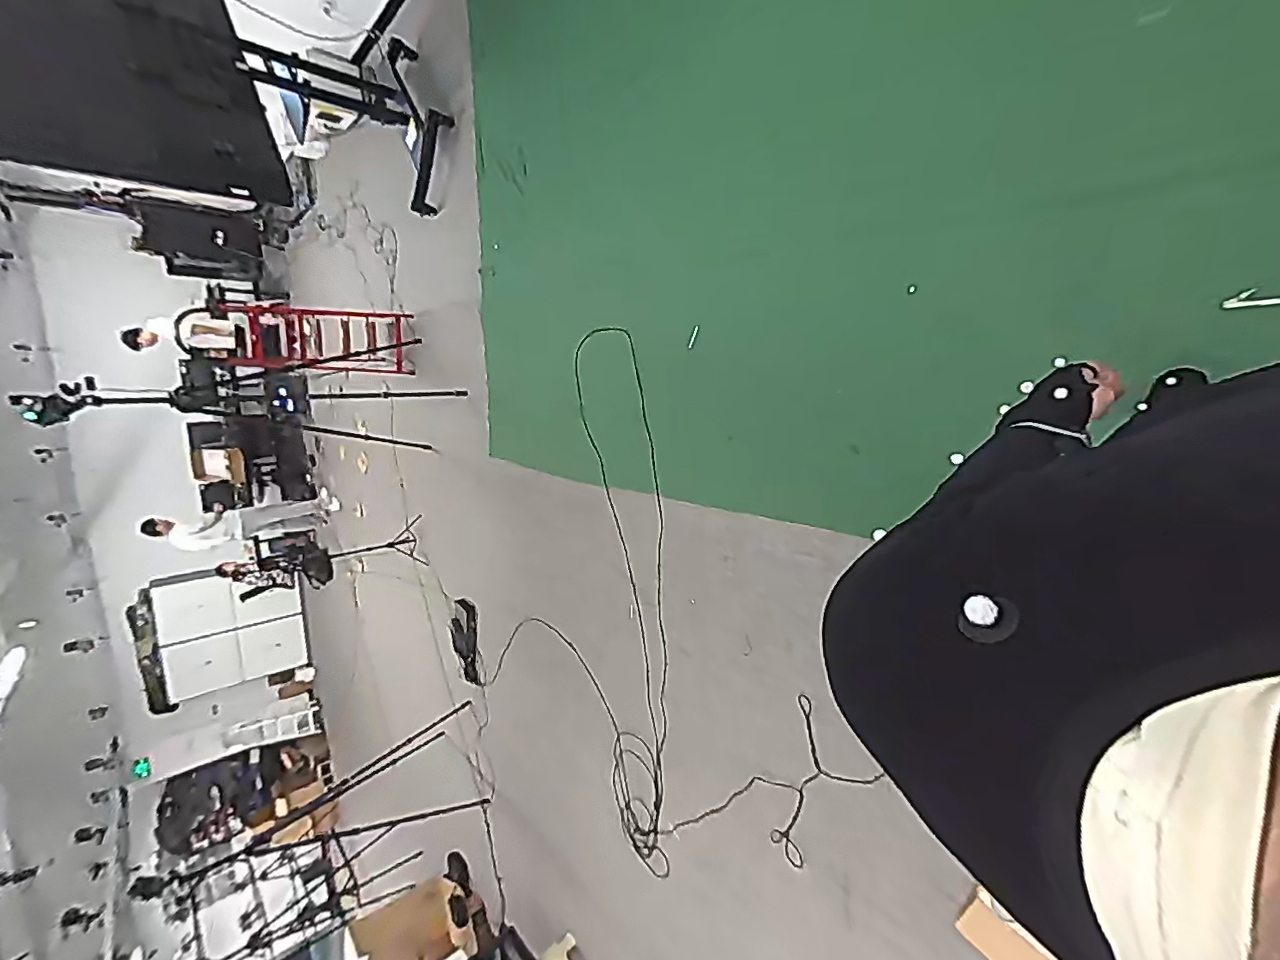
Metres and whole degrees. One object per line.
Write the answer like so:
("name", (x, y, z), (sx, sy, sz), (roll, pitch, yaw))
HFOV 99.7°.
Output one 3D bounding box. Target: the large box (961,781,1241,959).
("large box", (1.087, 1.047, 1.304), (0.408, 0.320, 0.320), (33, 121, 38))
